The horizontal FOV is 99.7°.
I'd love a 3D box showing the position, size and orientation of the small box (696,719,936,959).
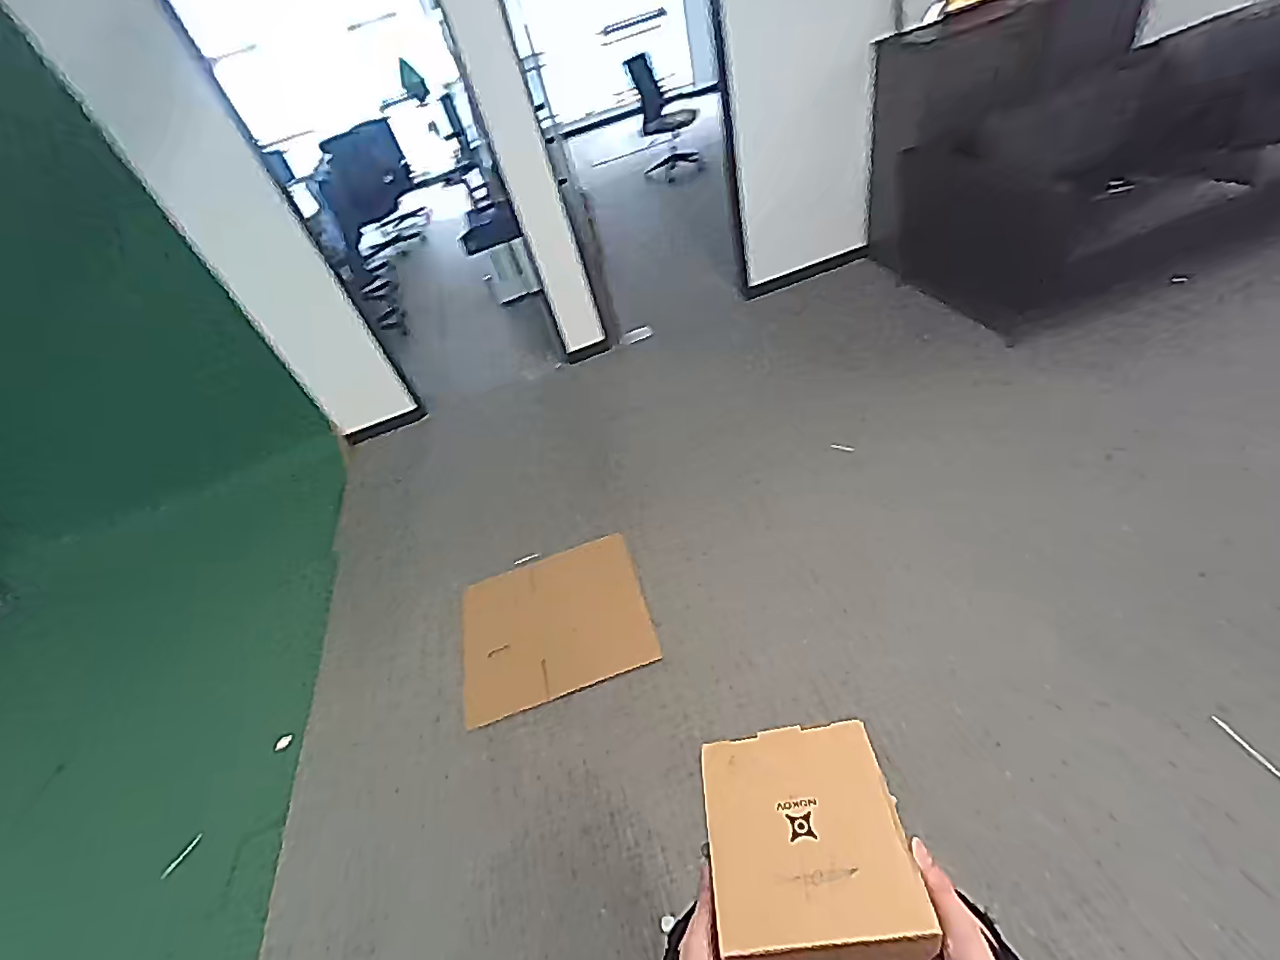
[{"bbox_3d":[0.156,0.364,0.511,0.168,0.176,0.179,-14,30,8],"label":"small box"}]
